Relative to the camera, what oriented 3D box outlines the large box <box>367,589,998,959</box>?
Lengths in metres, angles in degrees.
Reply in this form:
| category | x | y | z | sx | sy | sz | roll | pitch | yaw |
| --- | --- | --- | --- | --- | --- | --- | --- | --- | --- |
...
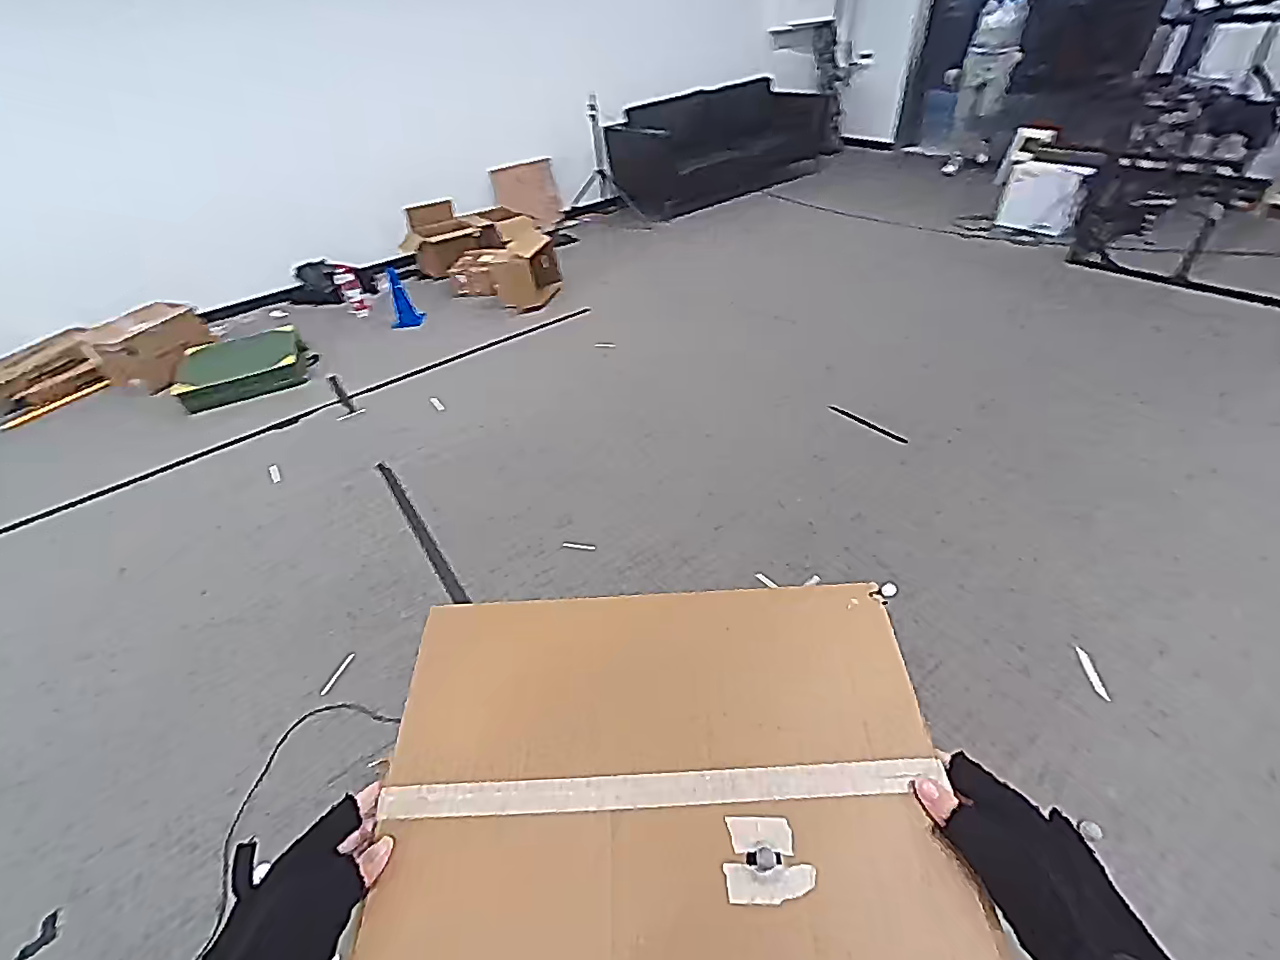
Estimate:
| category | x | y | z | sx | sy | sz | roll | pitch | yaw |
| --- | --- | --- | --- | --- | --- | --- | --- | --- | --- |
| large box | 0.023 | 0.328 | 0.513 | 0.408 | 0.320 | 0.320 | -4 | 50 | 0 |
